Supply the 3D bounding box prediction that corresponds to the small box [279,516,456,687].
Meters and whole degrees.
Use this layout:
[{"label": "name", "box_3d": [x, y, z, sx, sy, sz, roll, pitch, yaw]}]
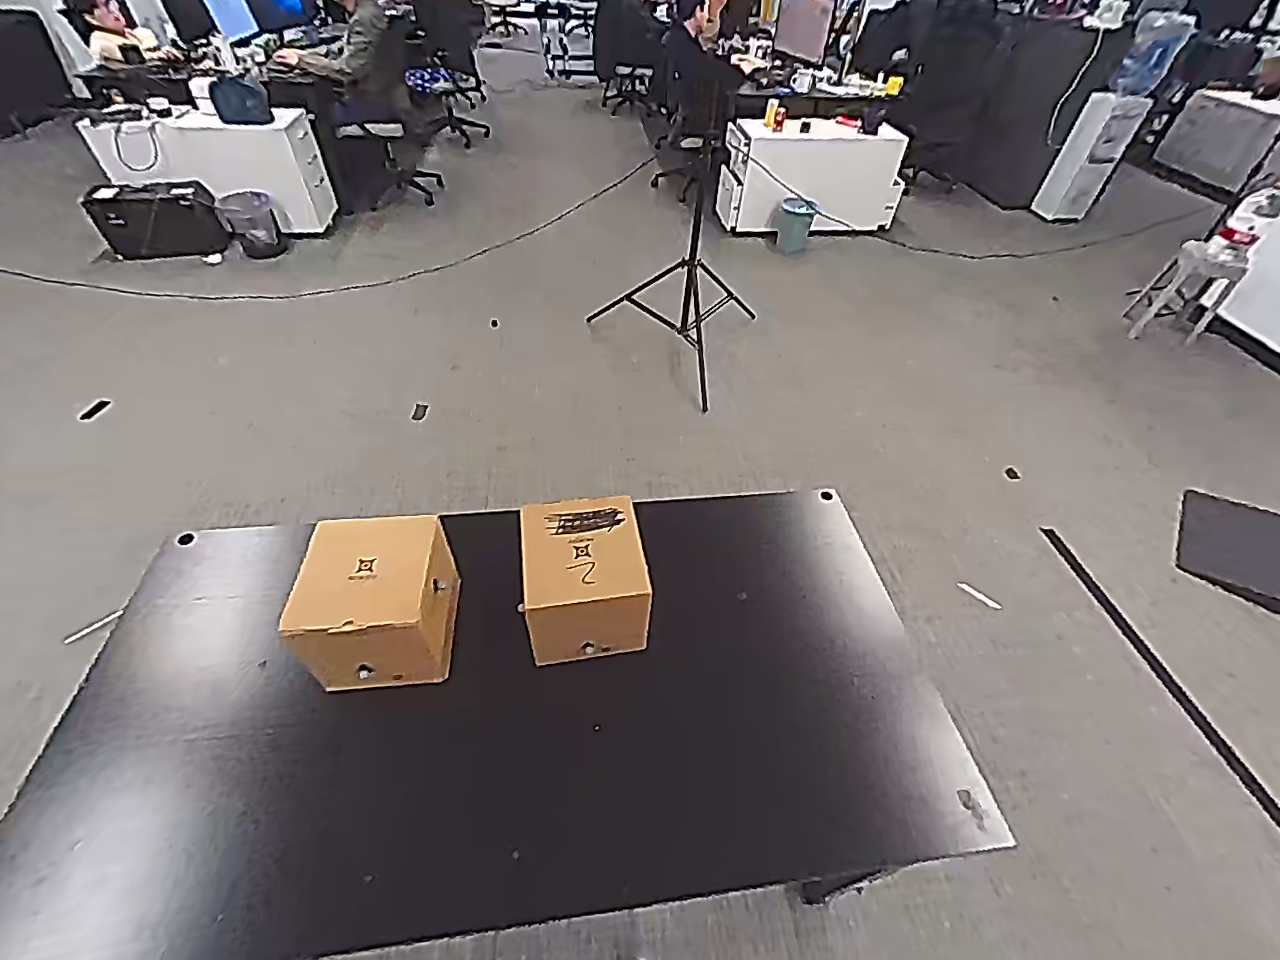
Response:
[{"label": "small box", "box_3d": [-0.368, 0.173, 0.772, 0.168, 0.176, 0.179, -3, 47, -6]}]
